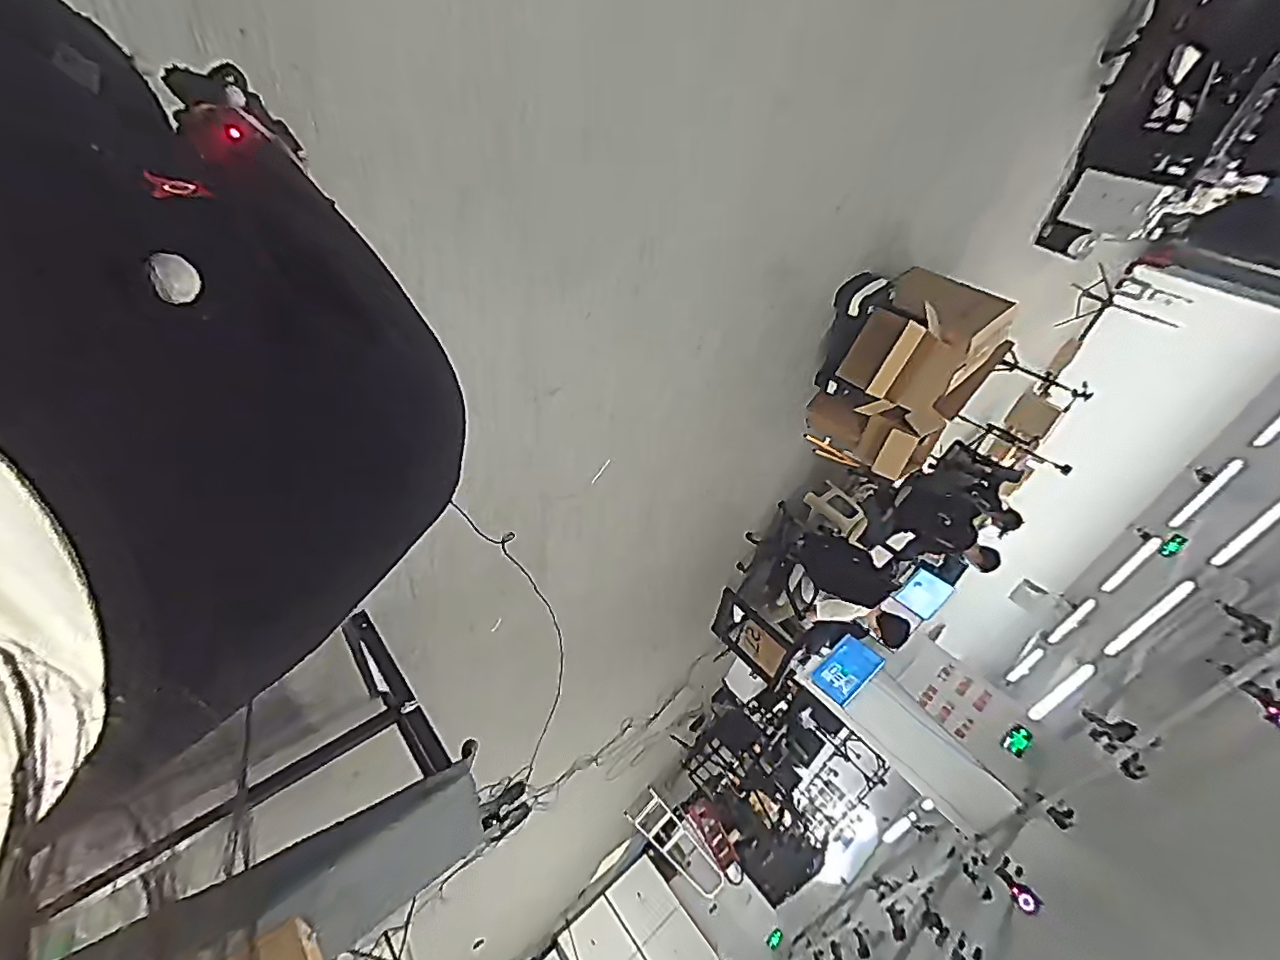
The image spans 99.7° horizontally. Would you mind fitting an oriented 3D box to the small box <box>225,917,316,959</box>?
[{"bbox_3d":[-0.901,1.222,1.318,0.168,0.176,0.179,-25,140,-34],"label":"small box"}]
